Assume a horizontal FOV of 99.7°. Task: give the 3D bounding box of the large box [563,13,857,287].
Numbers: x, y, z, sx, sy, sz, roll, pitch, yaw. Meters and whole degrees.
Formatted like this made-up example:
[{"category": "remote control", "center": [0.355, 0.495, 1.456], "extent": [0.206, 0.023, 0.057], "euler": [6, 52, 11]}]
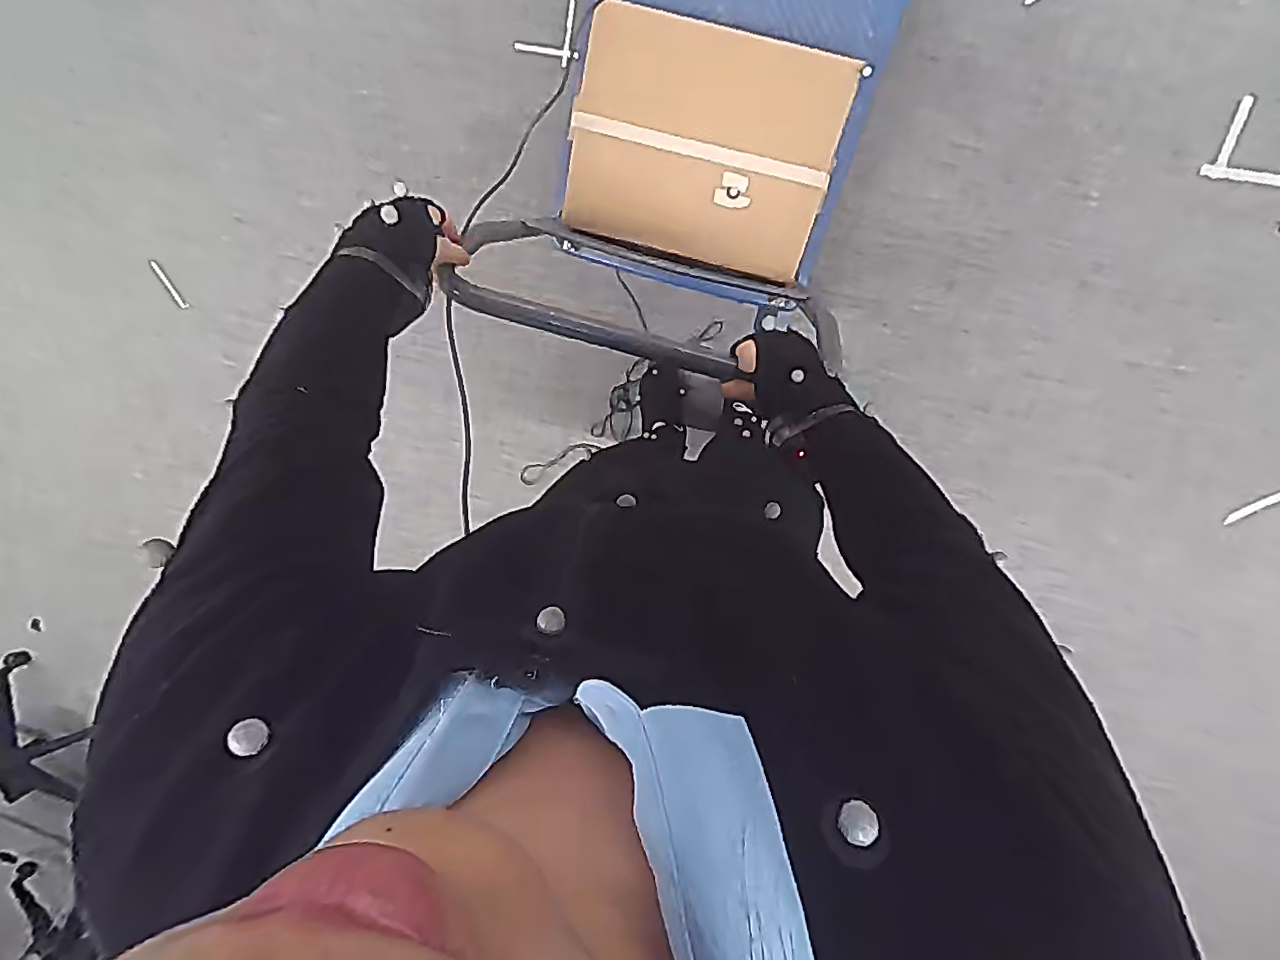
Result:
[{"category": "large box", "center": [0.106, -0.559, 0.978], "extent": [0.408, 0.320, 0.320], "euler": [14, 115, 1]}]
